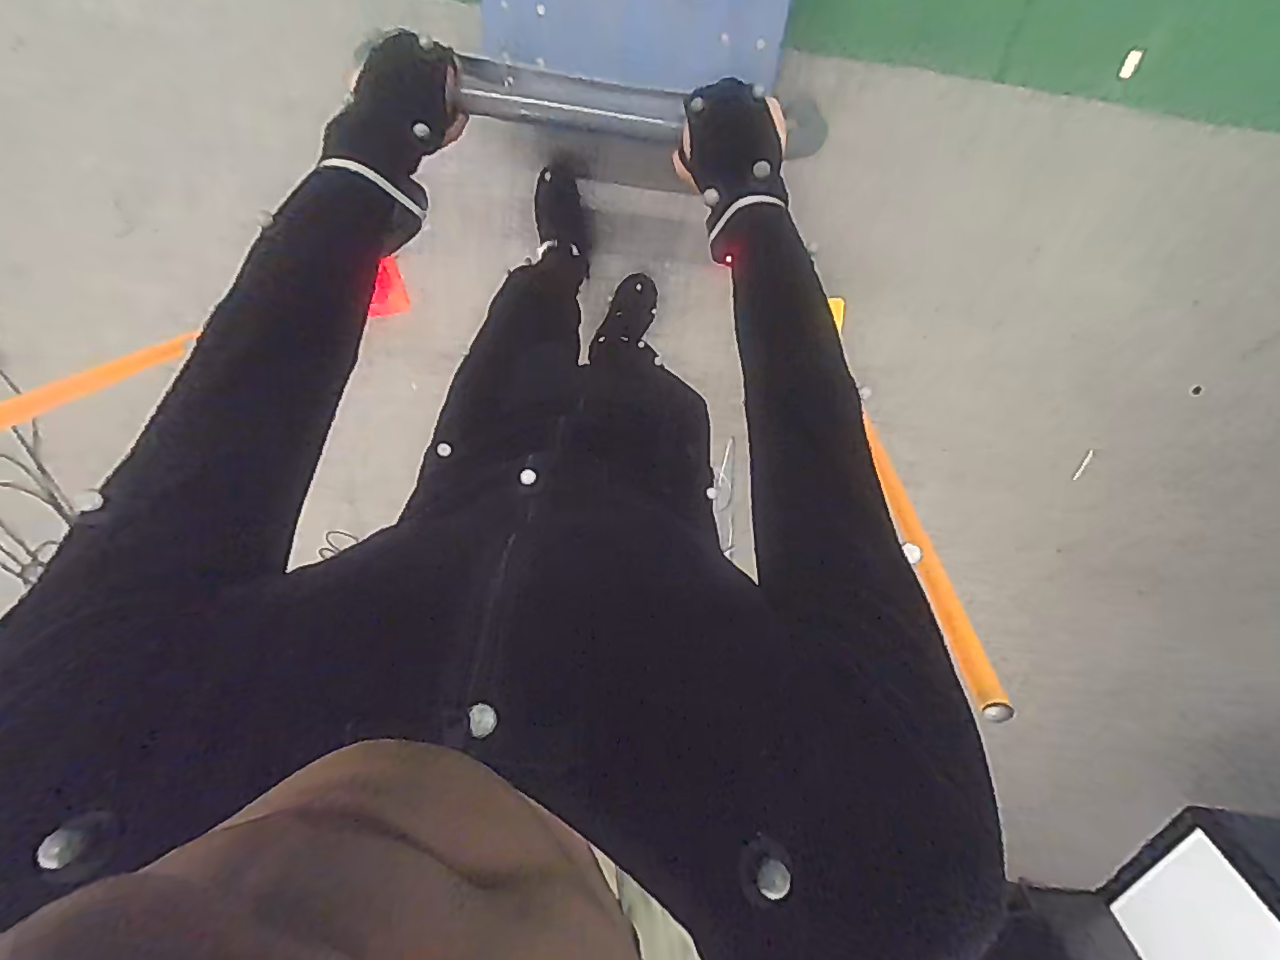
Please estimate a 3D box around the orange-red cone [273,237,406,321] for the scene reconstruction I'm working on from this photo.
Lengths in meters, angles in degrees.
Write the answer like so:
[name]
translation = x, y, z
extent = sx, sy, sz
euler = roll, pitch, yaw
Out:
[orange-red cone]
translation = -0.734, -0.441, 1.266
extent = 0.199, 0.360, 0.198
euler = -5, 118, 5
